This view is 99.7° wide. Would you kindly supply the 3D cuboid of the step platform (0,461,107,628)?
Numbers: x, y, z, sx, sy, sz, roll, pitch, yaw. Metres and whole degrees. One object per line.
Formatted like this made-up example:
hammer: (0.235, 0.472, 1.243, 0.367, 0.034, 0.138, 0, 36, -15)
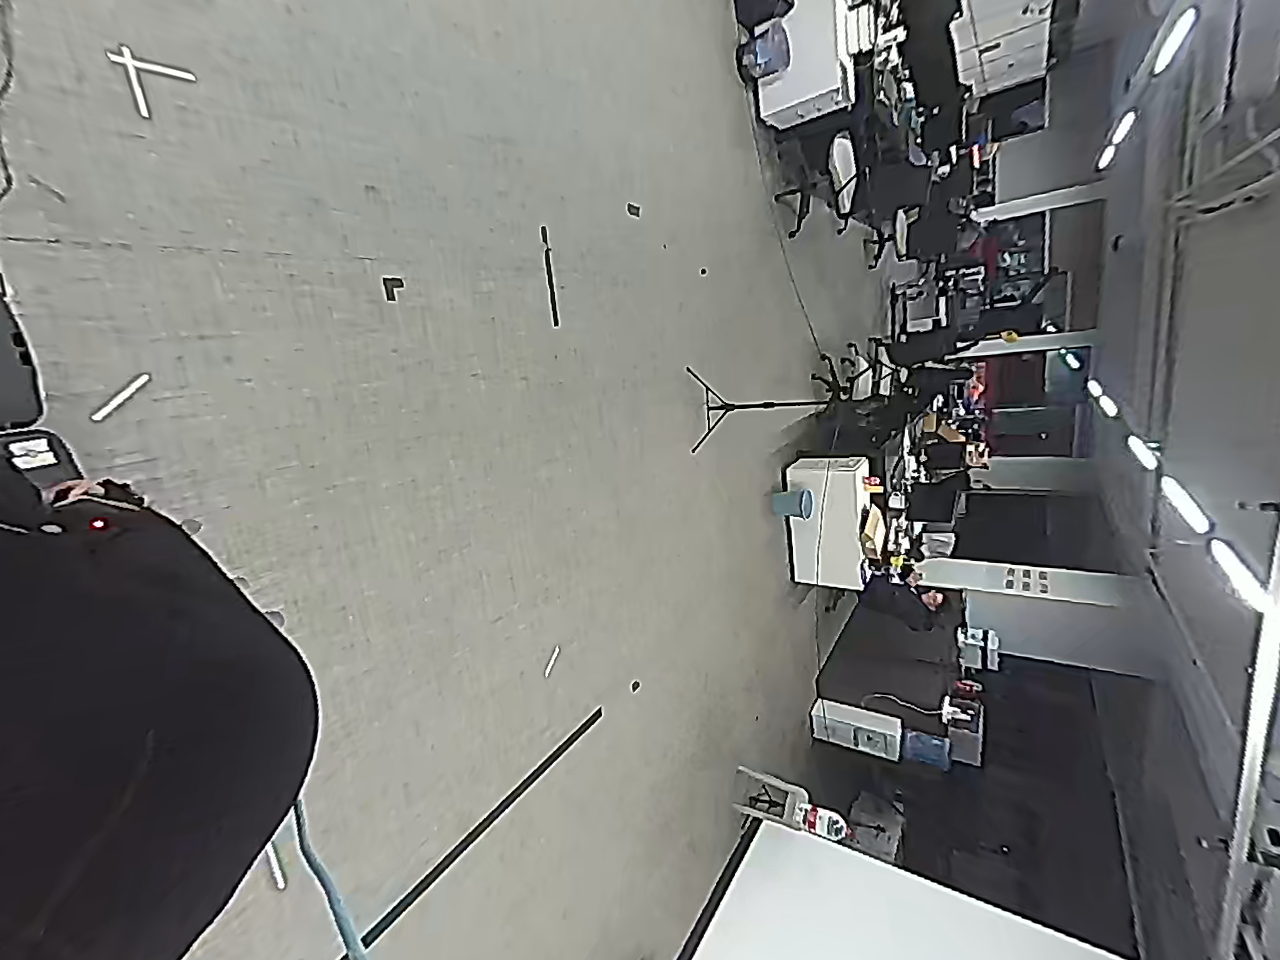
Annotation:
step platform: (-1.290, 0.153, 0.821, 0.684, 0.204, 0.286, -16, 103, -52)
